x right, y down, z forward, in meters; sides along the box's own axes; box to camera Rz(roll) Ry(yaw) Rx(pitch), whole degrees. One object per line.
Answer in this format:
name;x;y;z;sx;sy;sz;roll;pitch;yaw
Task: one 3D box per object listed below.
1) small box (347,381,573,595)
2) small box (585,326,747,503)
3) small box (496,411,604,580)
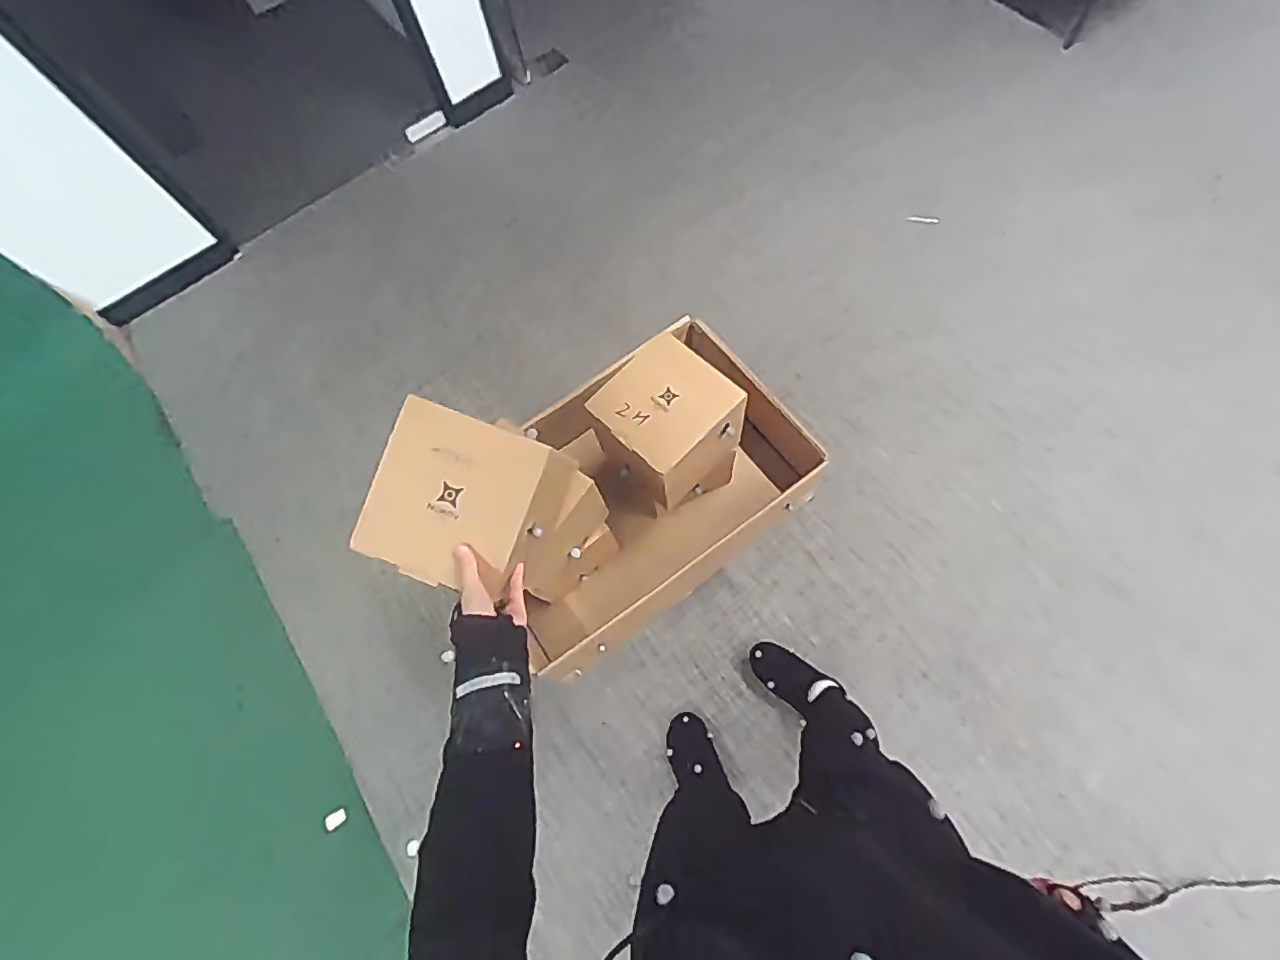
small box;-0.191;0.011;0.630;0.168;0.176;0.179;22;88;4
small box;0.042;-0.094;0.843;0.179;0.176;0.168;-43;71;-9
small box;-0.176;0.033;0.815;0.179;0.176;0.168;35;77;15
